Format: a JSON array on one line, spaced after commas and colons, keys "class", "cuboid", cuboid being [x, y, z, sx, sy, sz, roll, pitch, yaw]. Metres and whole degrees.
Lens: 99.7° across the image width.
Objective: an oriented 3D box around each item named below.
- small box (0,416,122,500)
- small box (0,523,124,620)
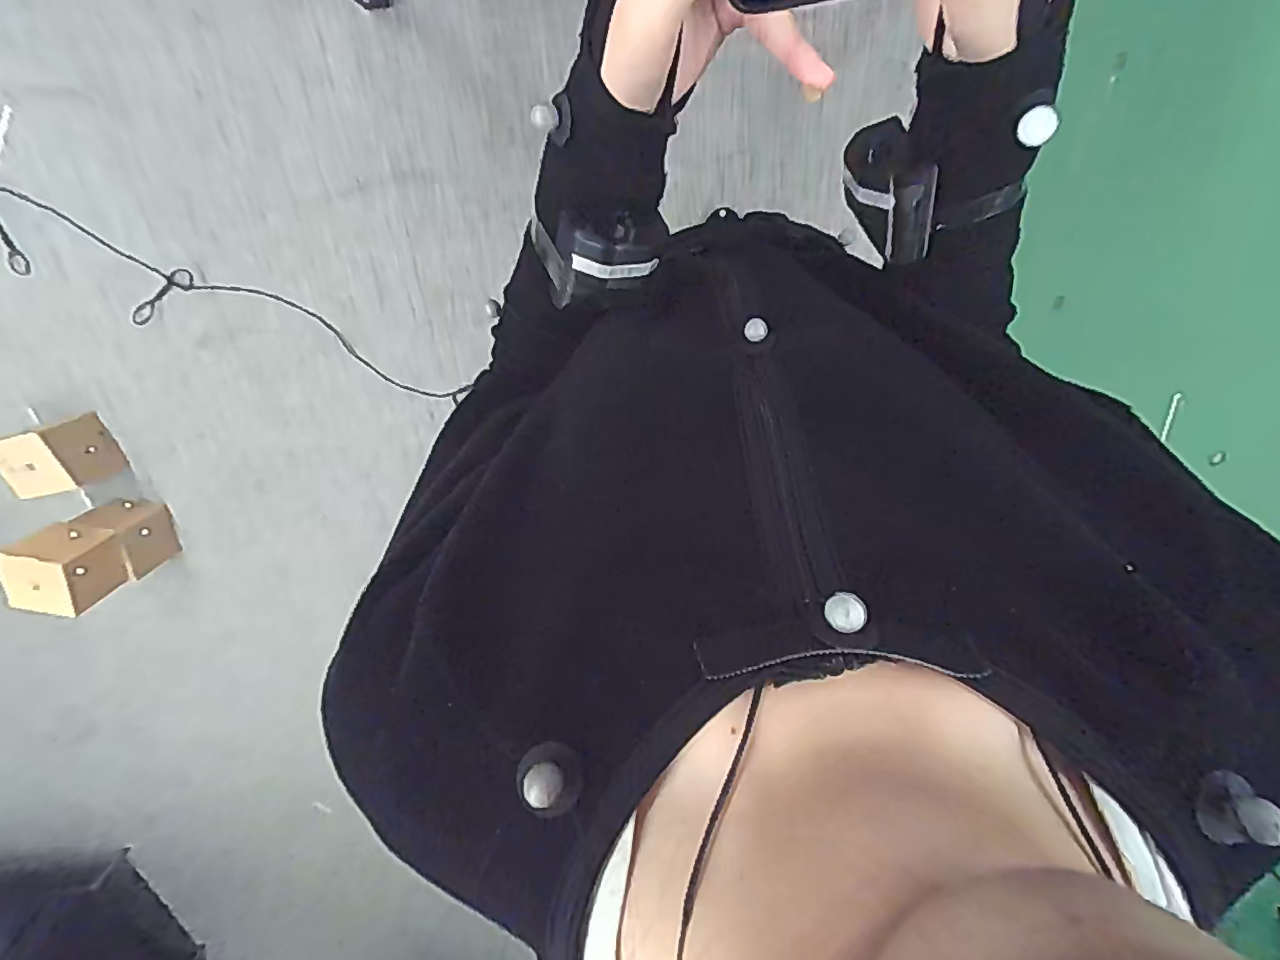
[{"class": "small box", "cuboid": [-1.595, -0.066, 1.485, 0.179, 0.176, 0.168, -11, 114, 6]}, {"class": "small box", "cuboid": [-1.546, 0.242, 1.452, 0.168, 0.176, 0.179, 12, 113, -4]}]
